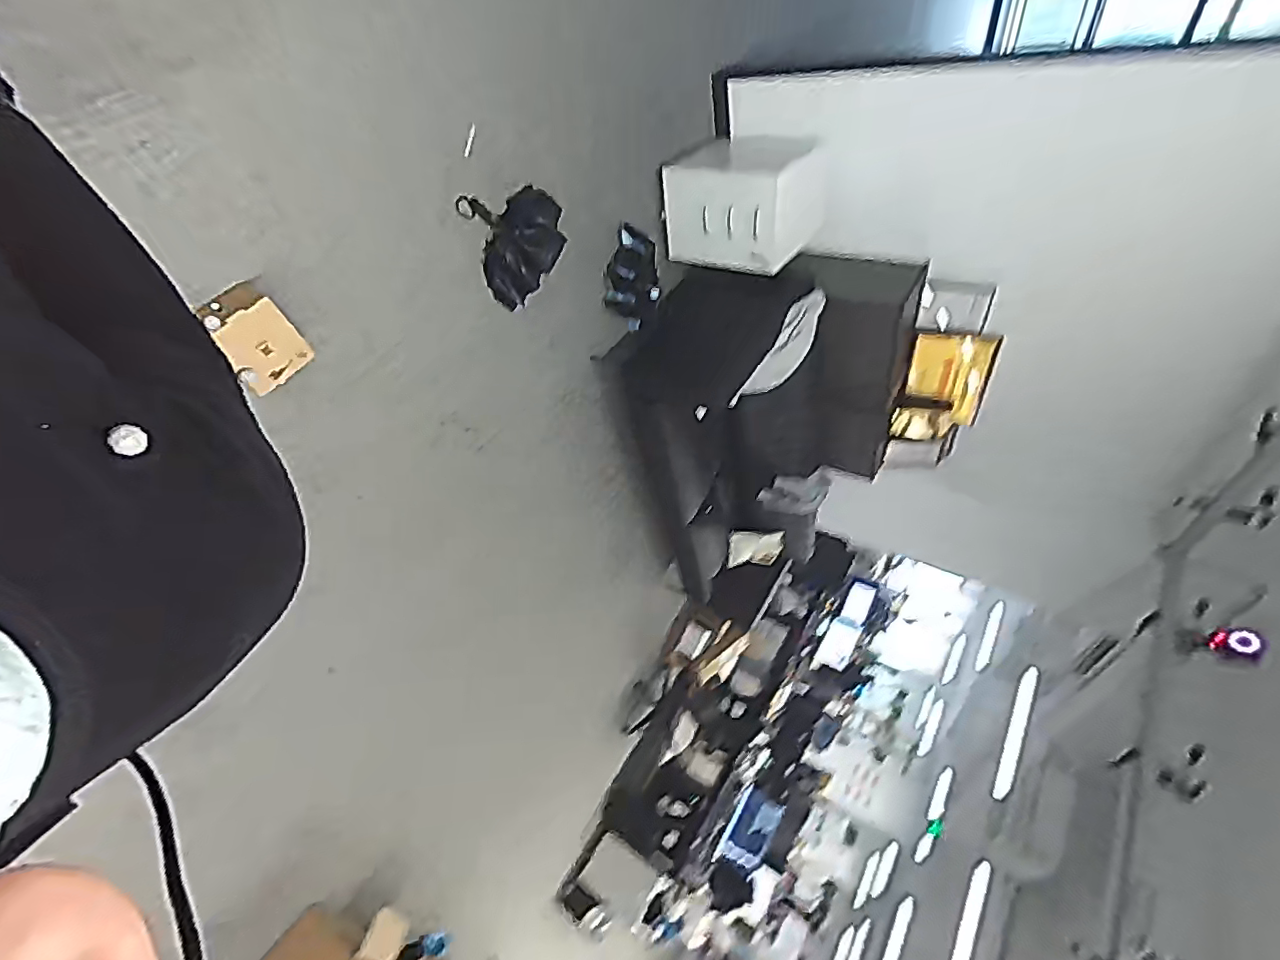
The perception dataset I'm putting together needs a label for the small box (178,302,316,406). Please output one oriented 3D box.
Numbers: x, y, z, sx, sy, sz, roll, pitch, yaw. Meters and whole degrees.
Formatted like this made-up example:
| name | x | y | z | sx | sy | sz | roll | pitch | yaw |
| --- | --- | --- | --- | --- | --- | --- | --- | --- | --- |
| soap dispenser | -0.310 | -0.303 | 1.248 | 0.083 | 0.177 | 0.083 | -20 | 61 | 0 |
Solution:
| name | x | y | z | sx | sy | sz | roll | pitch | yaw |
| --- | --- | --- | --- | --- | --- | --- | --- | --- | --- |
| small box | -0.933 | -0.306 | 1.284 | 0.168 | 0.176 | 0.179 | -54 | 146 | -27 |
